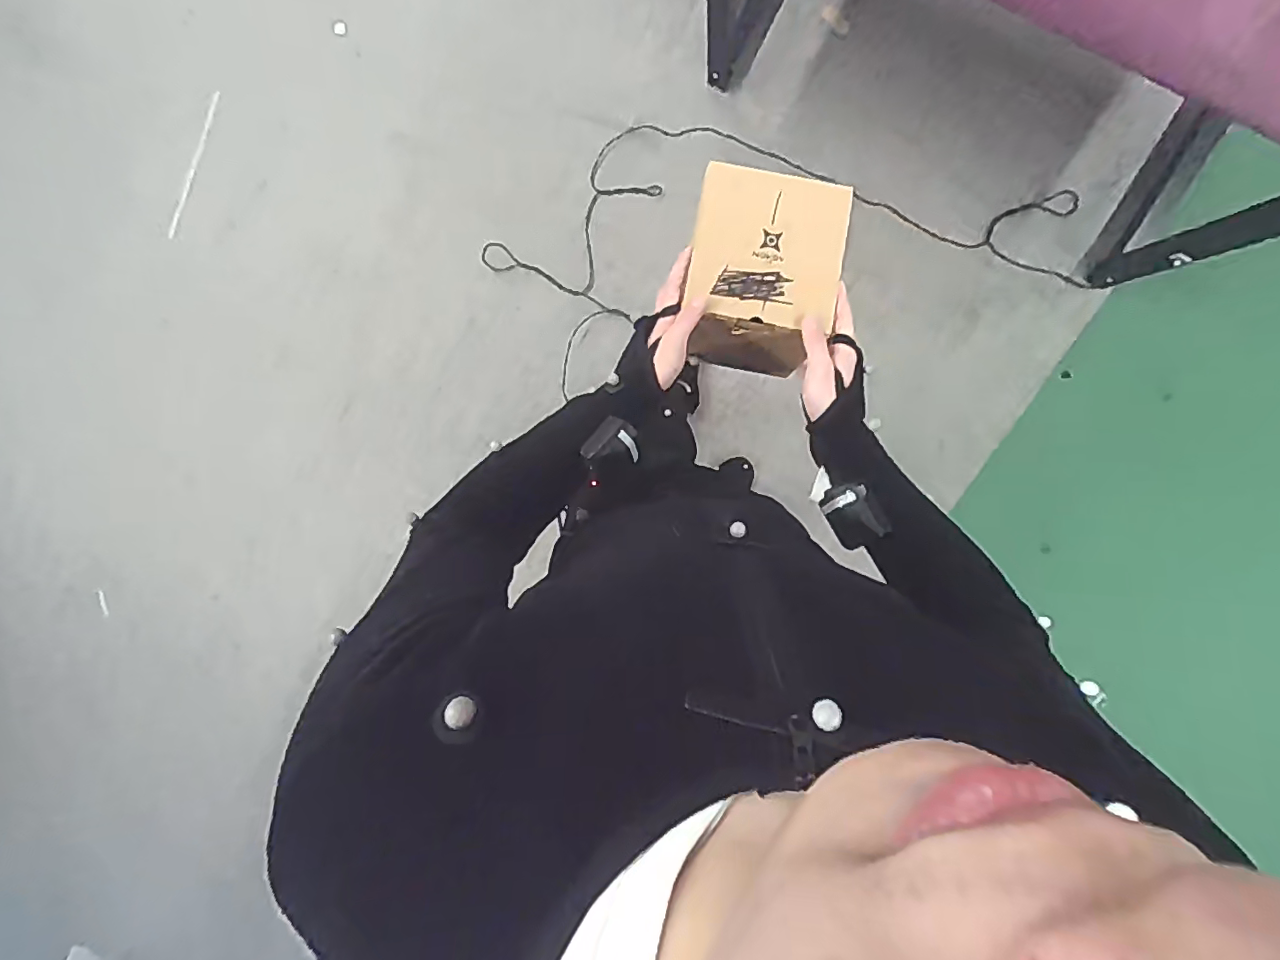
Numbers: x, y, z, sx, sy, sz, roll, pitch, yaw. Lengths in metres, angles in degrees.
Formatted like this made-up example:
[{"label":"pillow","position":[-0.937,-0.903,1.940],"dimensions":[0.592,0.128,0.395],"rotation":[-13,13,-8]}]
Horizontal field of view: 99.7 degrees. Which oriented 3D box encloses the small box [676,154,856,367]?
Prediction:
[{"label":"small box","position":[0.140,-0.251,0.661],"dimensions":[0.168,0.176,0.179],"rotation":[10,86,0]}]
